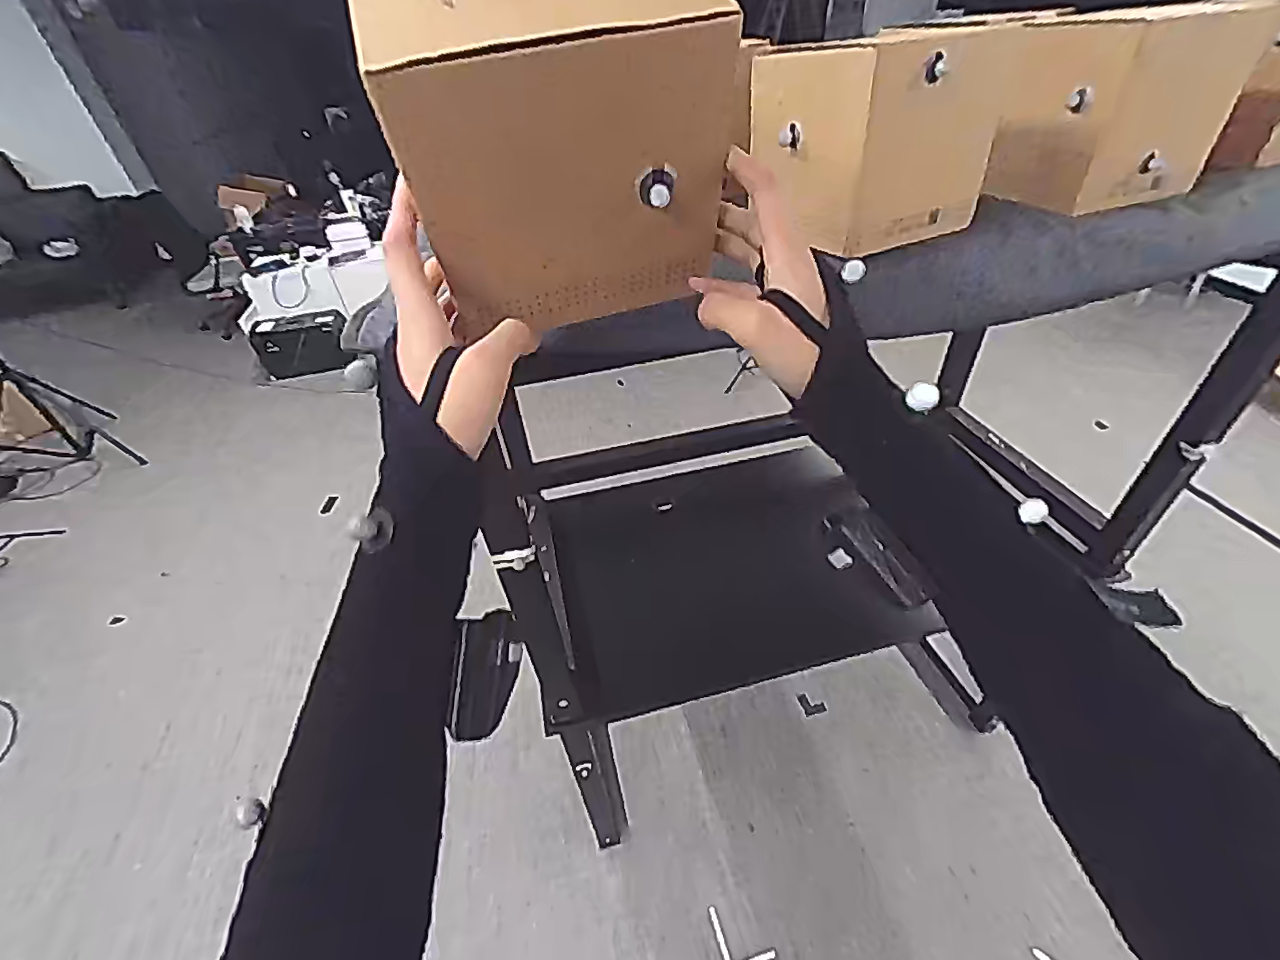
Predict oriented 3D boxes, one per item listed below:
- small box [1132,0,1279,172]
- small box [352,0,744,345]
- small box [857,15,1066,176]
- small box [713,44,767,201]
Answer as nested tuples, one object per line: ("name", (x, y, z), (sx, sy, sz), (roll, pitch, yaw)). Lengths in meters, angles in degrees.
("small box", (0.803, -0.505, 0.689), (0.168, 0.176, 0.179), (-10, 41, -4))
("small box", (-0.058, -0.214, 0.343), (0.179, 0.176, 0.168), (-16, 62, -9))
("small box", (0.445, -0.552, 0.782), (0.168, 0.176, 0.179), (-14, 40, -10))
("small box", (0.058, -0.495, 0.755), (0.168, 0.176, 0.179), (-14, 42, -10))
